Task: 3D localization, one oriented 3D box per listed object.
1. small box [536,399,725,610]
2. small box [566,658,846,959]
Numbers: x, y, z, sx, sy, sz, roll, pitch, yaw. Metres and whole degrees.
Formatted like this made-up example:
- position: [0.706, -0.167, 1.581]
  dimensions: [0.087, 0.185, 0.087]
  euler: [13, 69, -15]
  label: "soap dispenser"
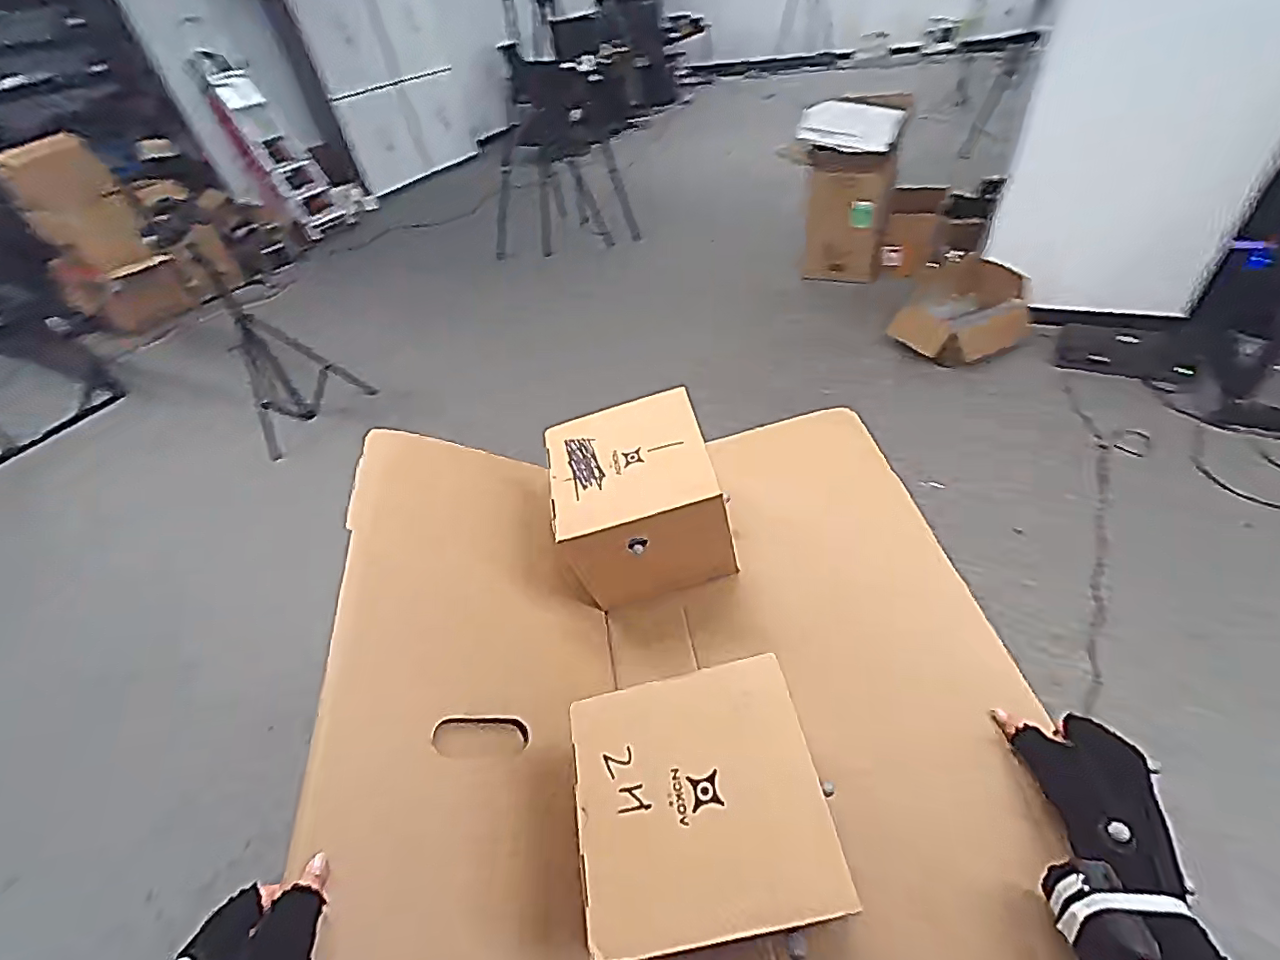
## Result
- position: [-0.009, 0.037, 0.659]
  dimensions: [0.179, 0.176, 0.168]
  euler: [-18, 50, 3]
  label: "small box"
- position: [0.053, 0.275, 0.456]
  dimensions: [0.179, 0.176, 0.168]
  euler: [-17, 50, 5]
  label: "small box"
